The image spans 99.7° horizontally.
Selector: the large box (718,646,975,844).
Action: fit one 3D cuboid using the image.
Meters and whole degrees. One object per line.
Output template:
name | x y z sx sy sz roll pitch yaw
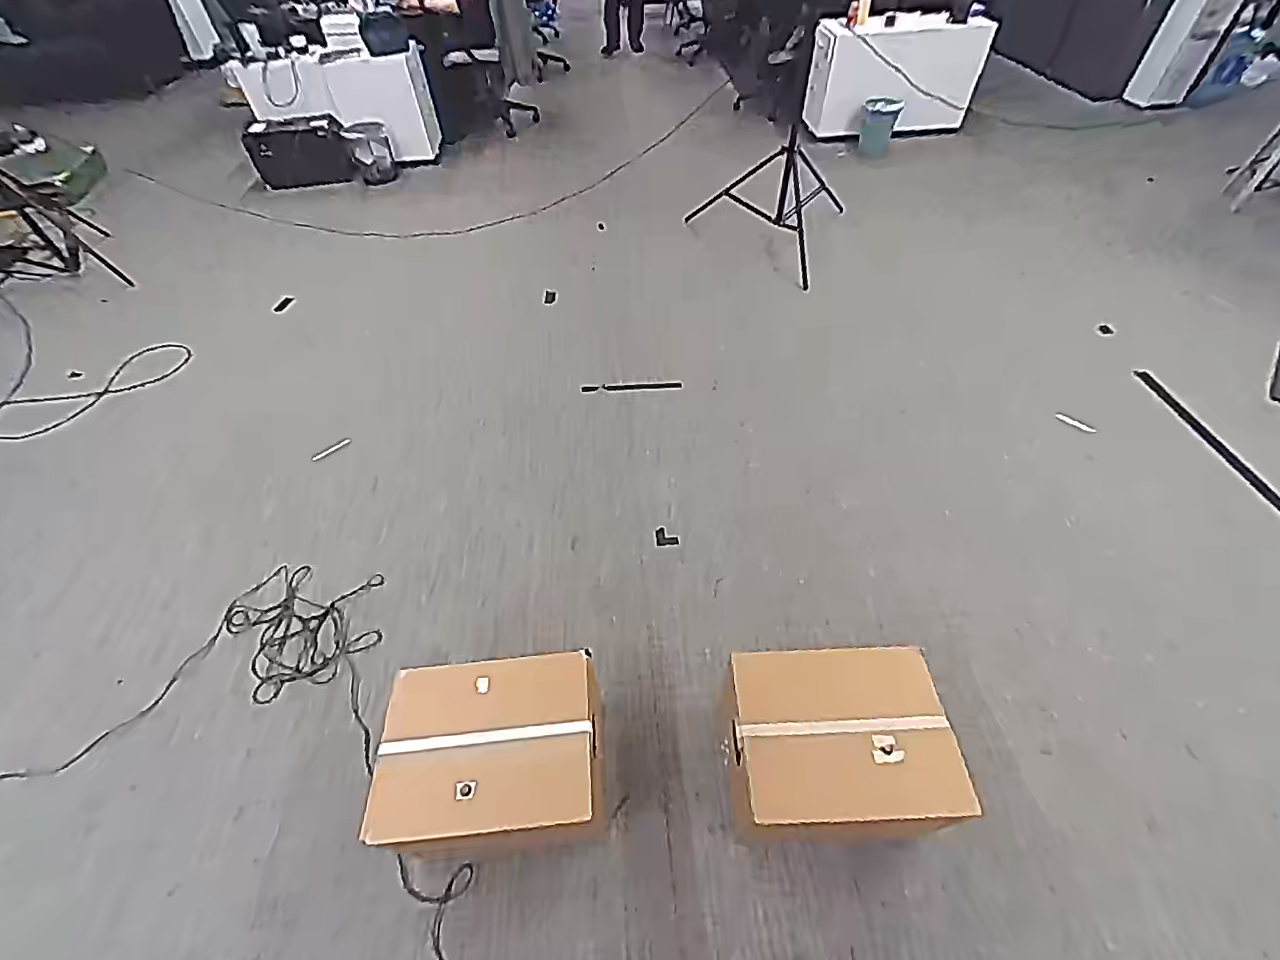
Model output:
large box | 0.400 0.578 1.171 0.408 0.320 0.320 -2 50 0
